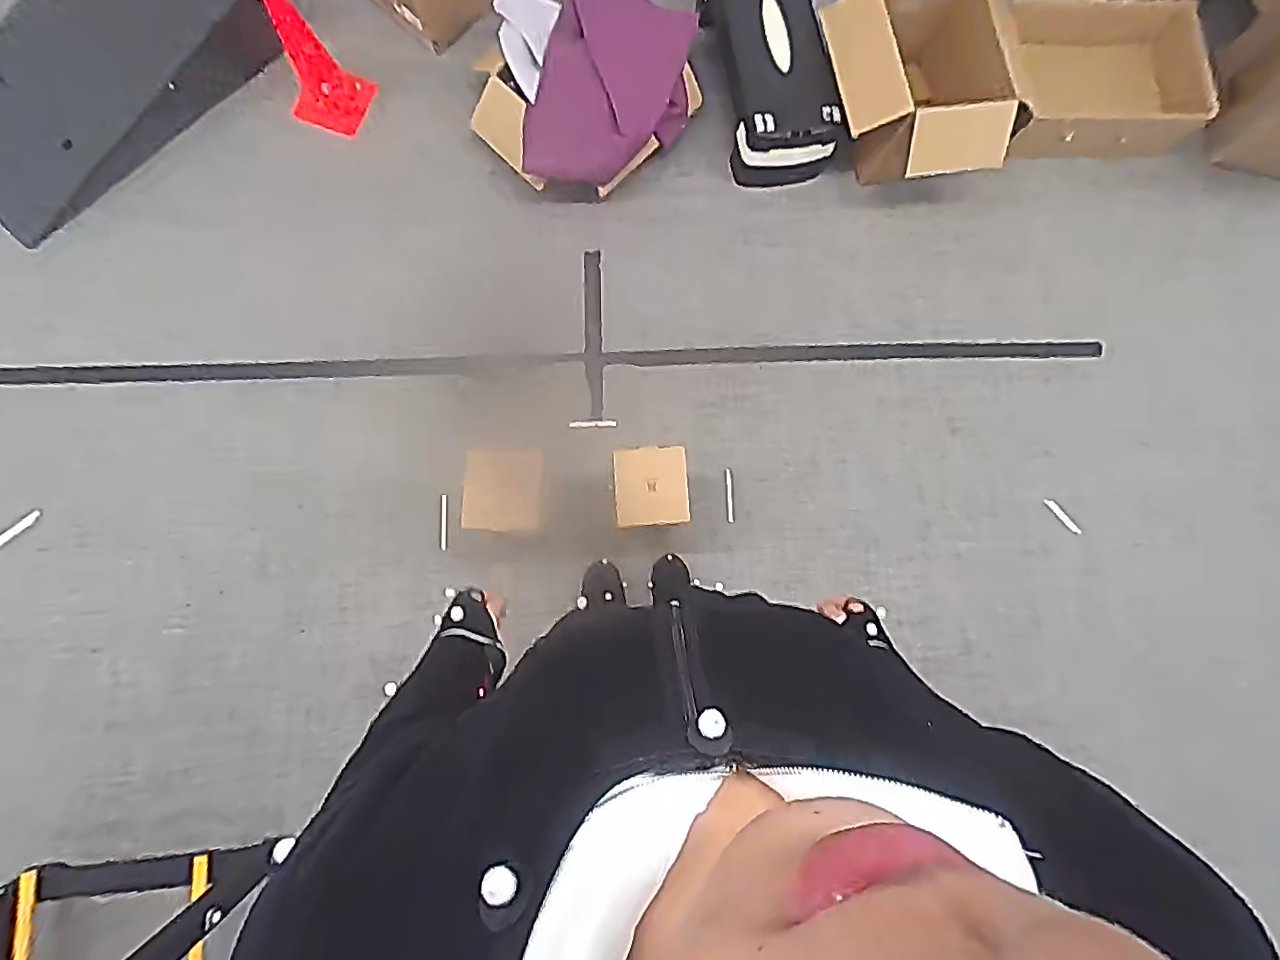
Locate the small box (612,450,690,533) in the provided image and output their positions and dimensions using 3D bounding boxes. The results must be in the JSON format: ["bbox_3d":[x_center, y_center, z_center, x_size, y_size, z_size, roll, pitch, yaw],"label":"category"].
[{"bbox_3d":[0.021,0.033,1.295,0.168,0.176,0.179,-4,84,-4],"label":"small box"}]

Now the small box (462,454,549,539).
[{"bbox_3d":[-0.306,0.043,1.264,0.168,0.176,0.179,3,82,-3],"label":"small box"}]
